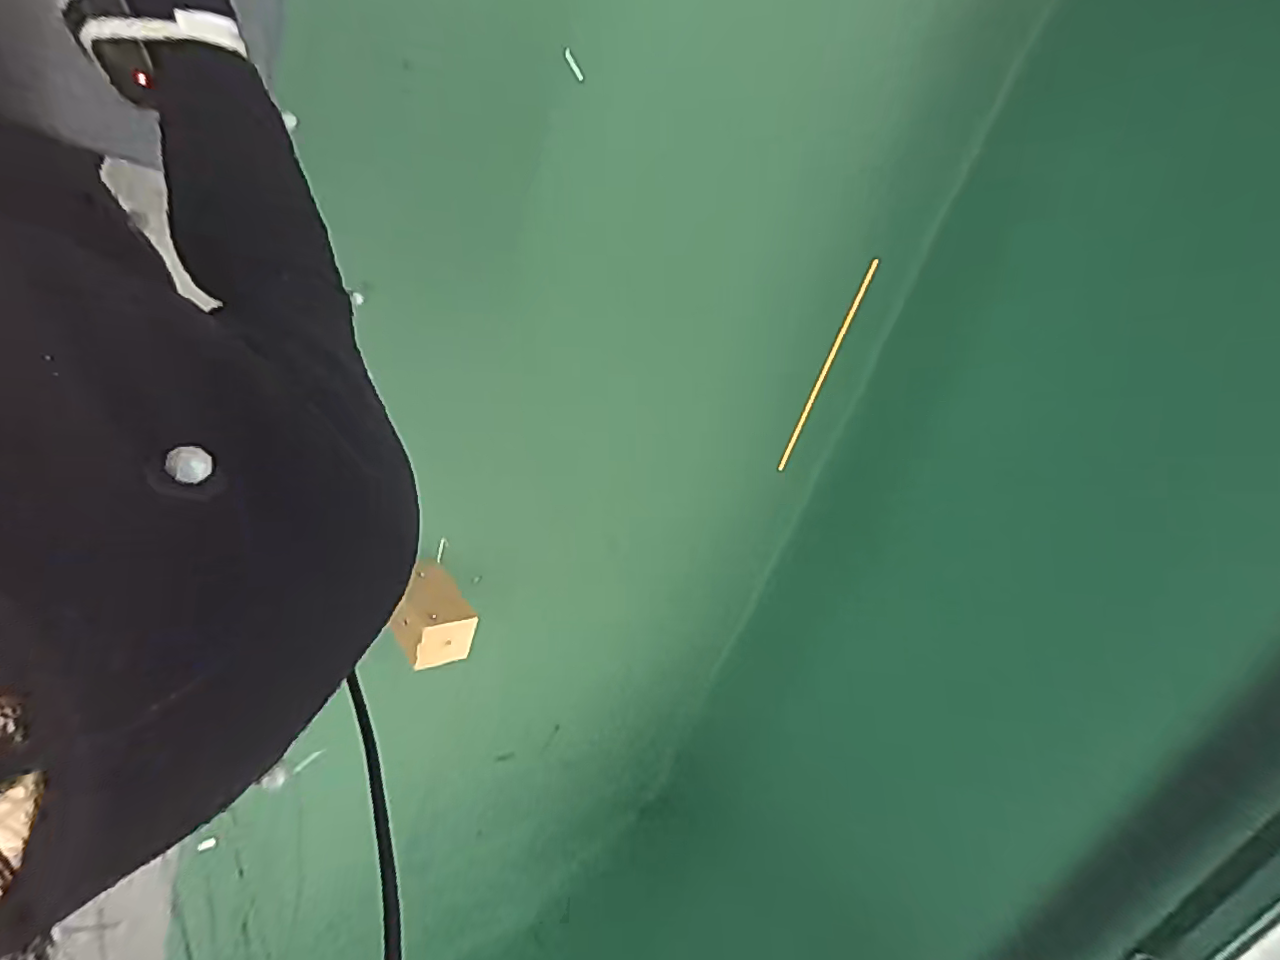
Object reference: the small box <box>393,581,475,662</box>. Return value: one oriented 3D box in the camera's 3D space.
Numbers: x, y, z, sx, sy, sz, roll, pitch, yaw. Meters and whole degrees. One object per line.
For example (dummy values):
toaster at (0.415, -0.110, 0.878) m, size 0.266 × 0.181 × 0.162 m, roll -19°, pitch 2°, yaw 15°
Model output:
small box at (-0.653, 0.438, 1.709) m, size 0.179 × 0.176 × 0.168 m, roll 0°, pitch 119°, yaw -45°
